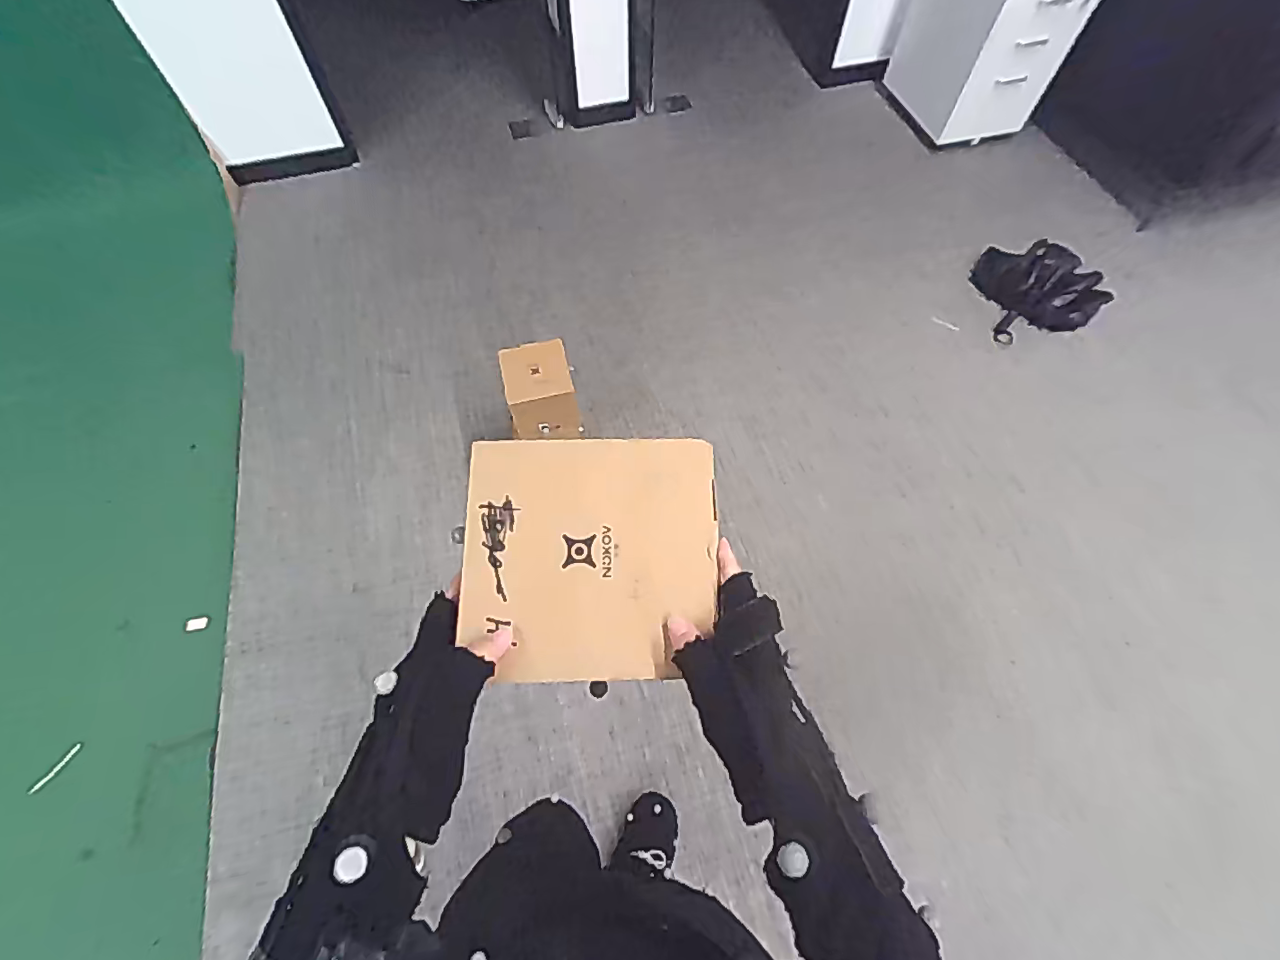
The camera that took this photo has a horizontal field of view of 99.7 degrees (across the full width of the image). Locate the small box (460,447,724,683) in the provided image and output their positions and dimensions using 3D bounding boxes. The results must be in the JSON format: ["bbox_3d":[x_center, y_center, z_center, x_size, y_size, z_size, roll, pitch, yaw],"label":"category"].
[{"bbox_3d":[-0.036,0.080,0.454,0.179,0.176,0.168,0,70,-3],"label":"small box"}]

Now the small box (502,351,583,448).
[{"bbox_3d":[-0.254,-0.207,1.428,0.168,0.176,0.179,-14,63,-6],"label":"small box"}]

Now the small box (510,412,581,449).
[{"bbox_3d":[-0.266,-0.122,1.565,0.179,0.176,0.168,-12,62,-7],"label":"small box"}]
